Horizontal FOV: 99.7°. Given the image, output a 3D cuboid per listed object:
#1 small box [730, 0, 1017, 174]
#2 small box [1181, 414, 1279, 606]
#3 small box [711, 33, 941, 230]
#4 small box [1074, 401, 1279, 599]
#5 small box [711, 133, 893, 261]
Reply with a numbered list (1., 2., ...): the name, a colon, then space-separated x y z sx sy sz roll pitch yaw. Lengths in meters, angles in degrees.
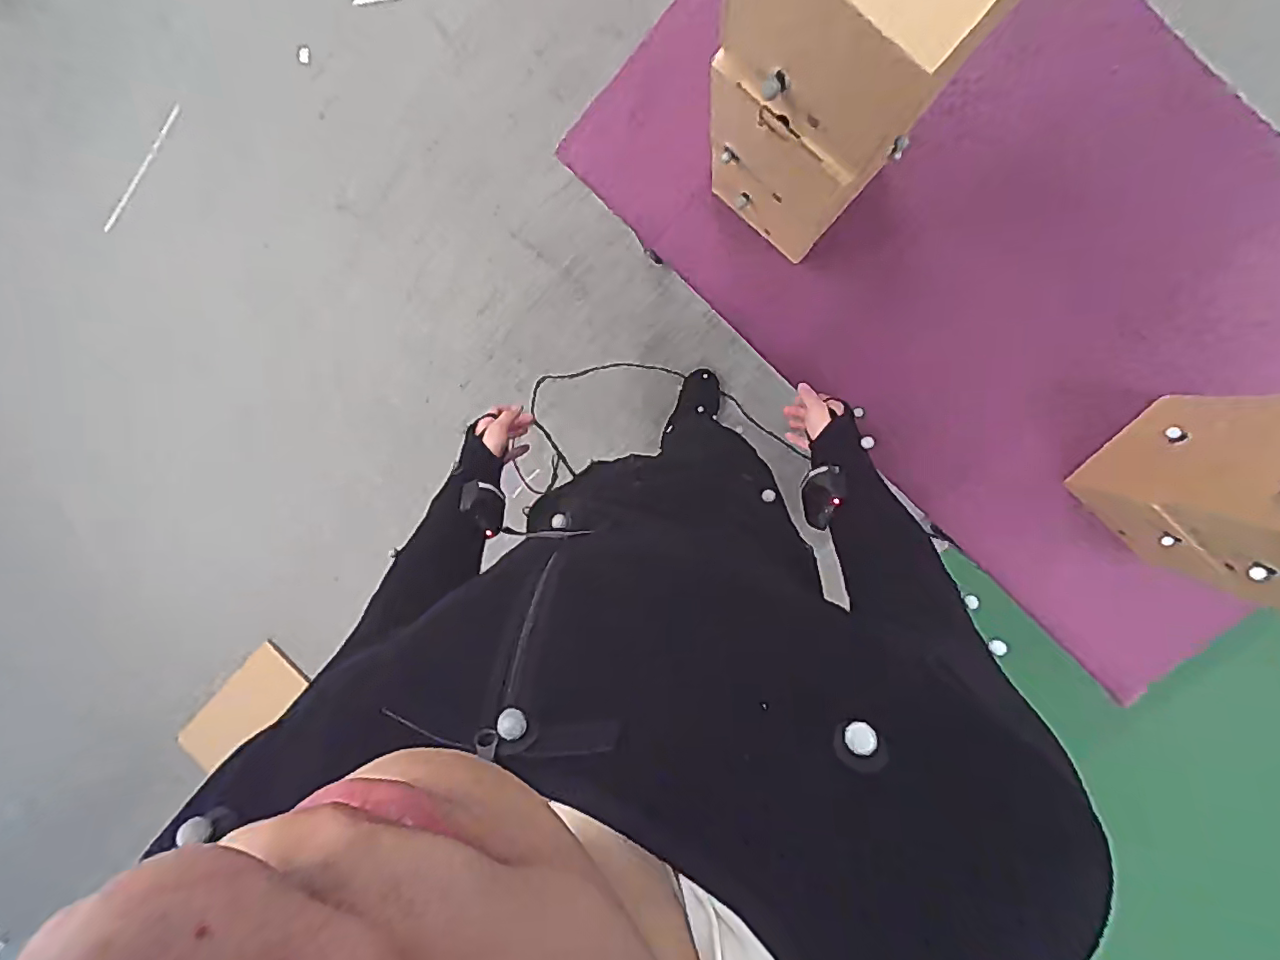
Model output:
1. small box: 0.174 -0.362 0.372 0.168 0.176 0.179 42 102 0
2. small box: 0.706 0.038 0.531 0.168 0.176 0.179 45 101 -1
3. small box: 0.189 -0.385 0.533 0.168 0.176 0.179 42 101 -1
4. small box: 0.727 0.013 0.692 0.168 0.176 0.179 43 101 0
5. small box: 0.210 -0.414 0.693 0.168 0.176 0.179 42 102 0
